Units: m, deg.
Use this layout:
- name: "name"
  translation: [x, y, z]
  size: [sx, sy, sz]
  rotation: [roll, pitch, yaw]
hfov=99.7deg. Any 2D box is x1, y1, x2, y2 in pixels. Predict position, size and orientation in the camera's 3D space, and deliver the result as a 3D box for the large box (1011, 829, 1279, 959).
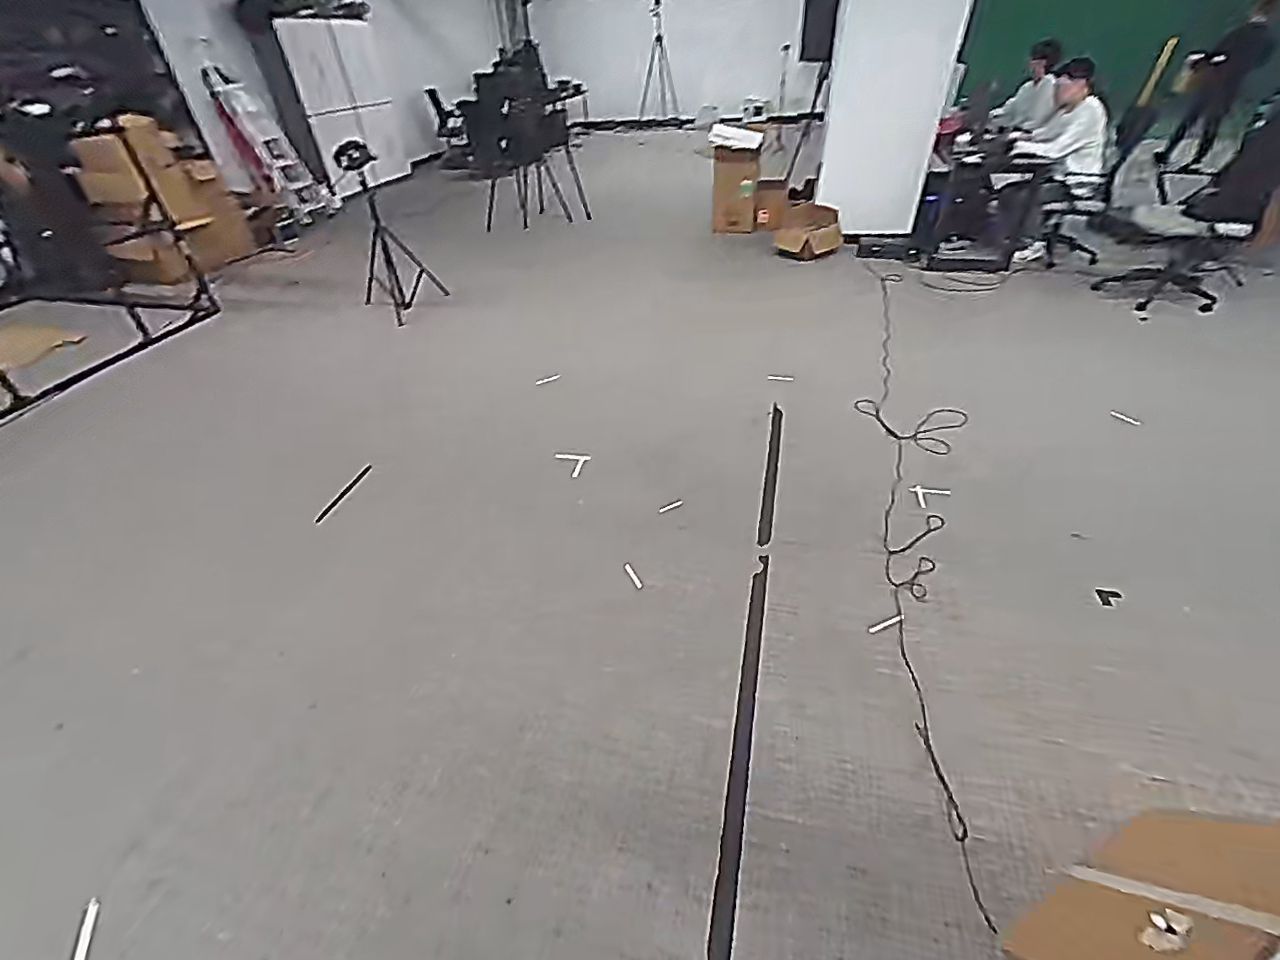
- name: "large box"
  translation: [0.705, 0.617, 0.552]
  size: [0.320, 0.408, 0.320]
  rotation: [-32, 62, -8]
